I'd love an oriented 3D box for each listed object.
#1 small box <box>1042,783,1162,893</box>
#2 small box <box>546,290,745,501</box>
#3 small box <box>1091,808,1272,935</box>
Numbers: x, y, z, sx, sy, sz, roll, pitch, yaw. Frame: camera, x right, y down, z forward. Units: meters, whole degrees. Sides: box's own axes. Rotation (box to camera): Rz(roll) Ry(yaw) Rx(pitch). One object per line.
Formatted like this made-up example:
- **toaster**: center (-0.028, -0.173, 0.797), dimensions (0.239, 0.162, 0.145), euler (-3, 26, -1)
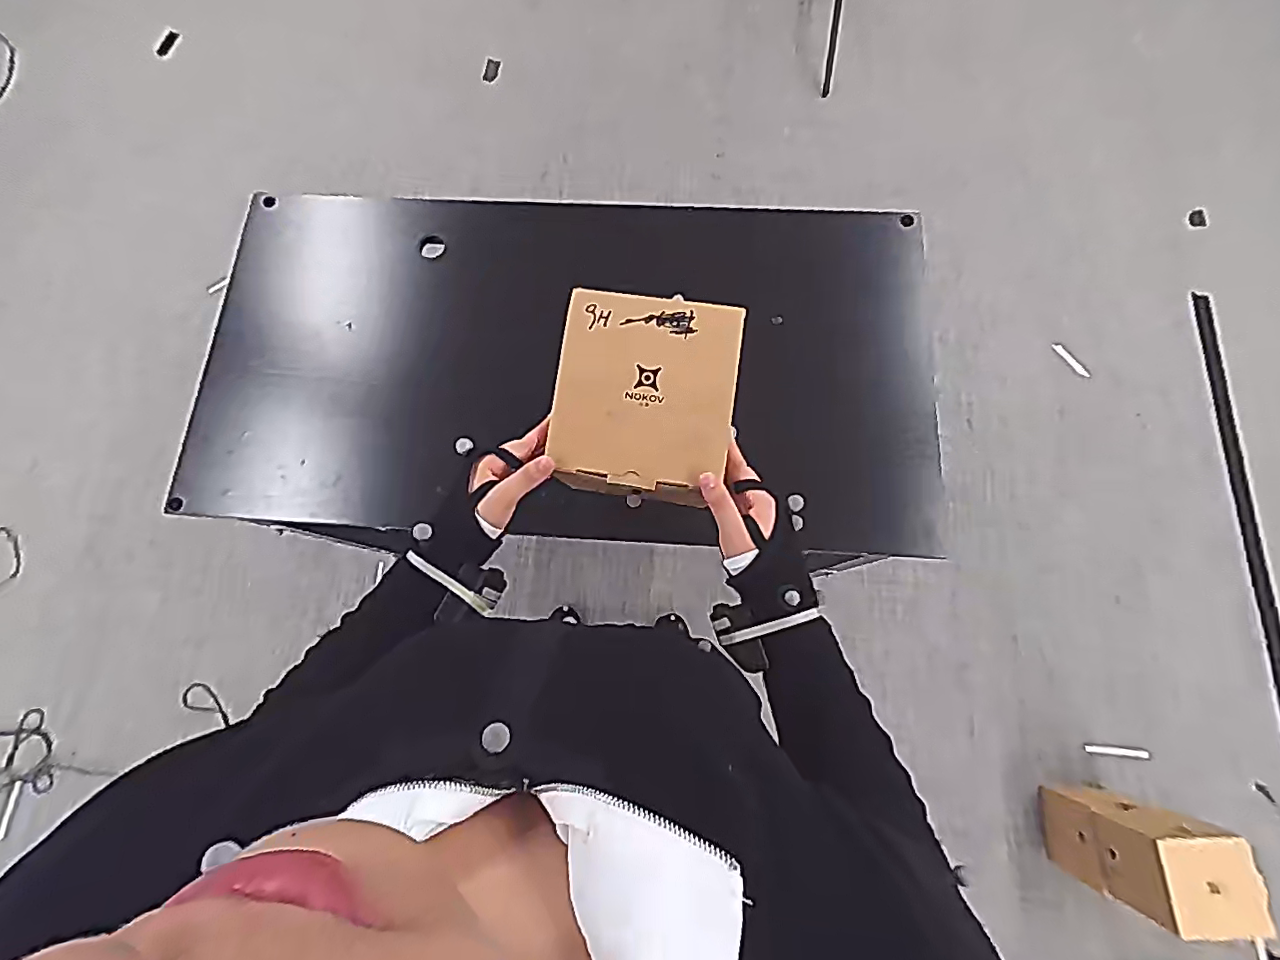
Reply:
- **small box**: center (1.077, 0.823, 1.256), dimensions (0.168, 0.176, 0.179), euler (0, 76, 2)
- **small box**: center (0.010, -0.075, 0.576), dimensions (0.168, 0.176, 0.179), euler (8, 84, 4)
- **small box**: center (1.083, 0.783, 1.098), dimensions (0.179, 0.176, 0.168), euler (-3, 74, 2)
